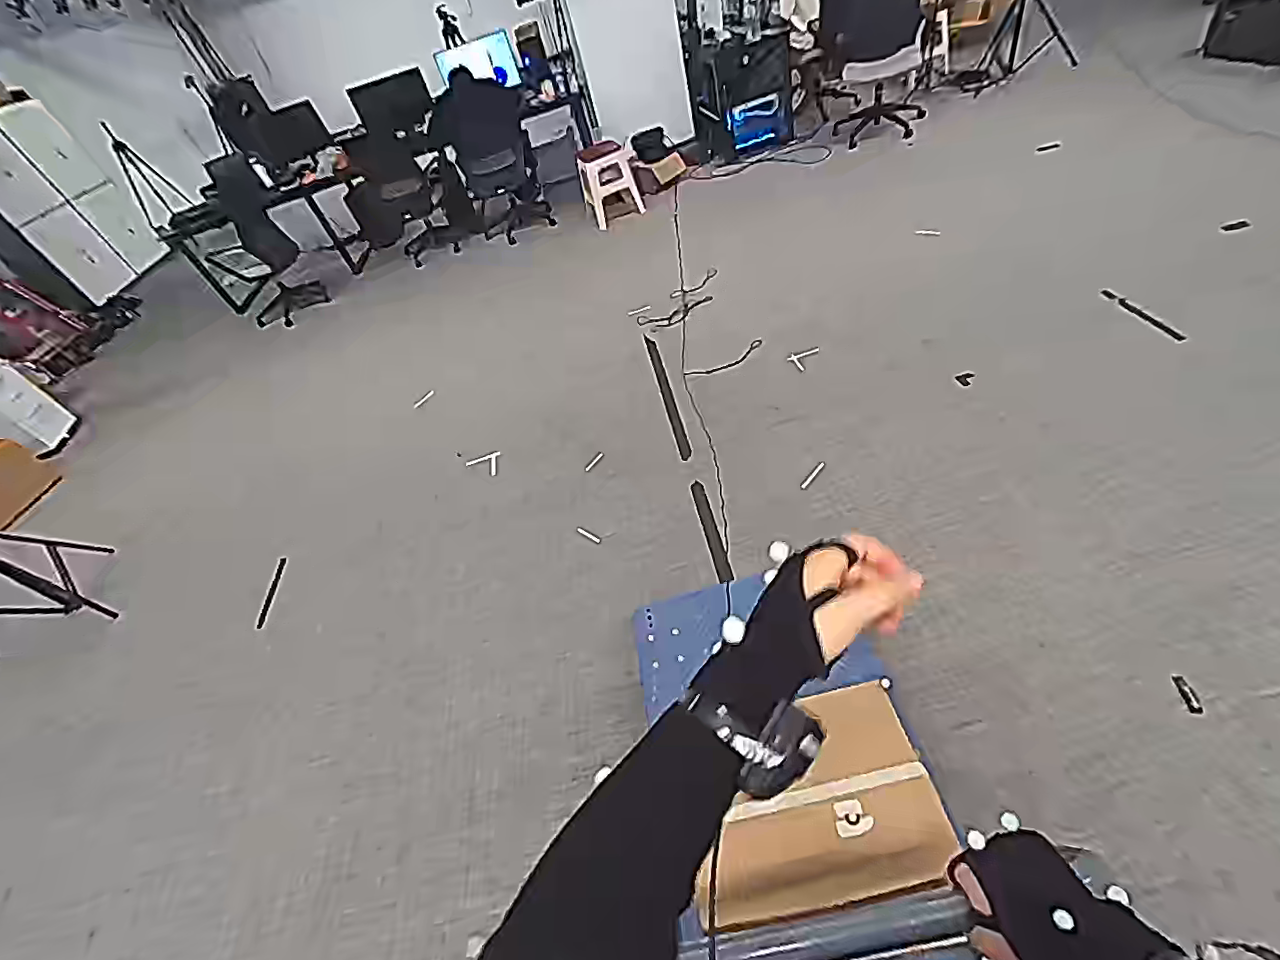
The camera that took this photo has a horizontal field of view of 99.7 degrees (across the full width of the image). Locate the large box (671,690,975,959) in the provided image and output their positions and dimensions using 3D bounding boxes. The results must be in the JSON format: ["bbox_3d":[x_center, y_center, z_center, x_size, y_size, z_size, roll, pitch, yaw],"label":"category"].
[{"bbox_3d":[0.302,0.640,0.986,0.408,0.320,0.320,-16,44,4],"label":"large box"}]
